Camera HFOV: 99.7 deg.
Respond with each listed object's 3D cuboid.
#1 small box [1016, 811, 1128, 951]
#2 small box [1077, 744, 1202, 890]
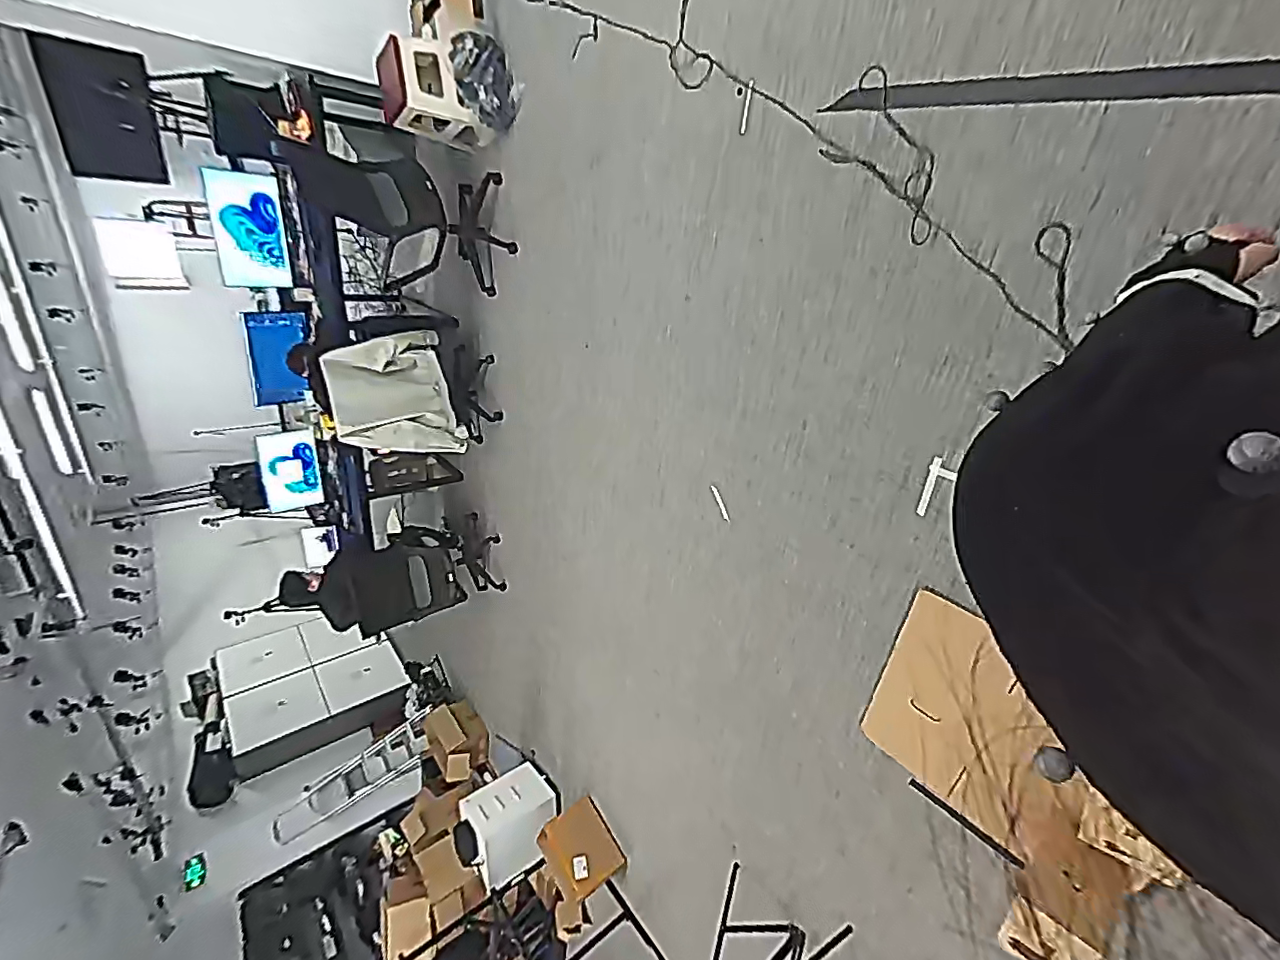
[{"bbox_3d":[1.054,0.966,1.317,0.168,0.176,0.179,21,117,45],"label":"small box"},{"bbox_3d":[1.094,0.722,1.183,0.168,0.176,0.179,16,113,47],"label":"small box"}]
